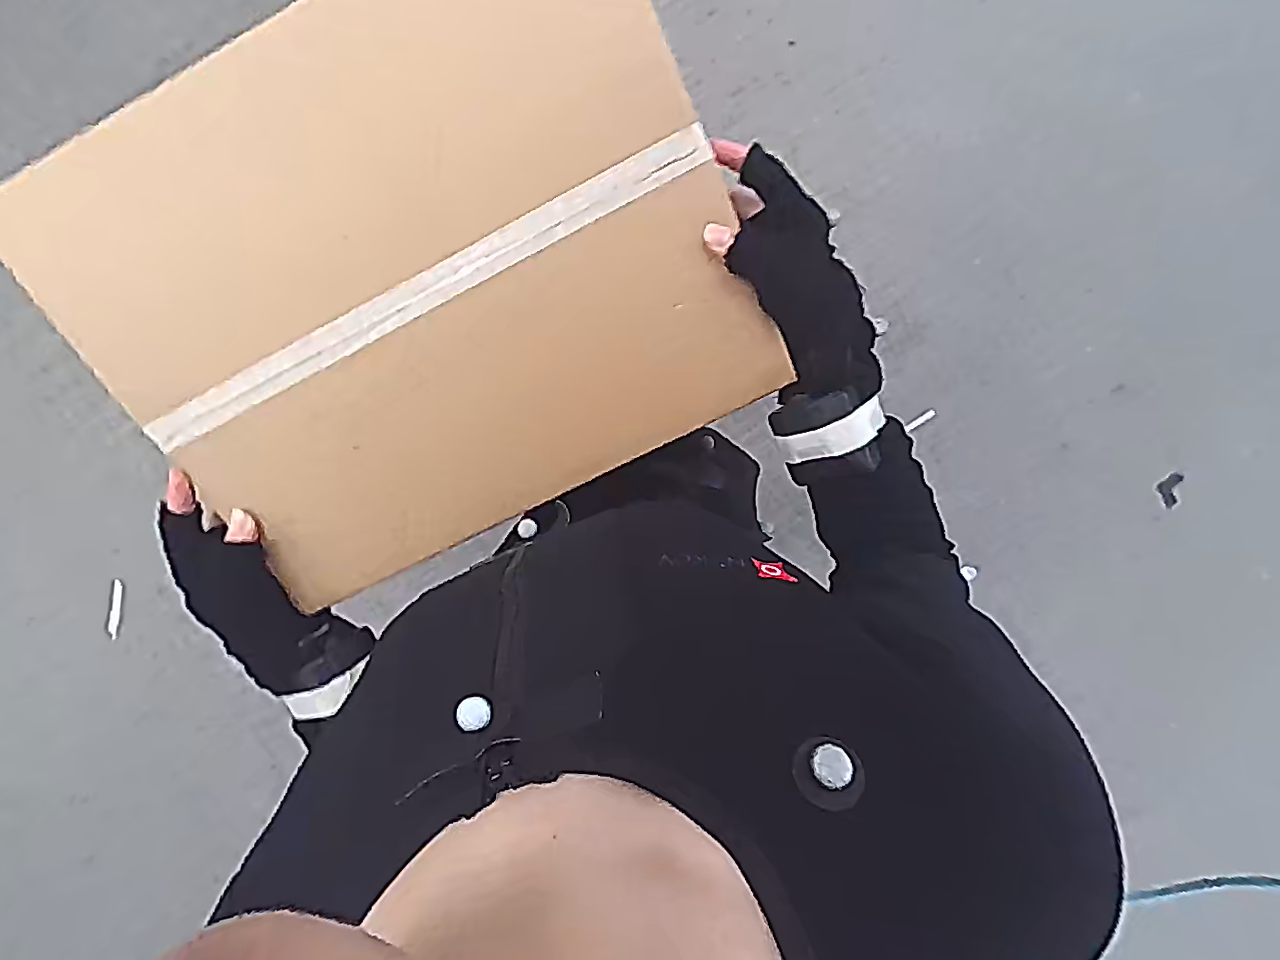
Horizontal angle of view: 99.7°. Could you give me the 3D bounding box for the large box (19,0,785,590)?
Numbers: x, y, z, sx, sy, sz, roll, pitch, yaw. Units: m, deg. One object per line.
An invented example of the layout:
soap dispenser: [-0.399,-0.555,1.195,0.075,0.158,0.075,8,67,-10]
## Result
large box: [-0.147,-0.172,0.494,0.408,0.320,0.320,-25,109,6]
